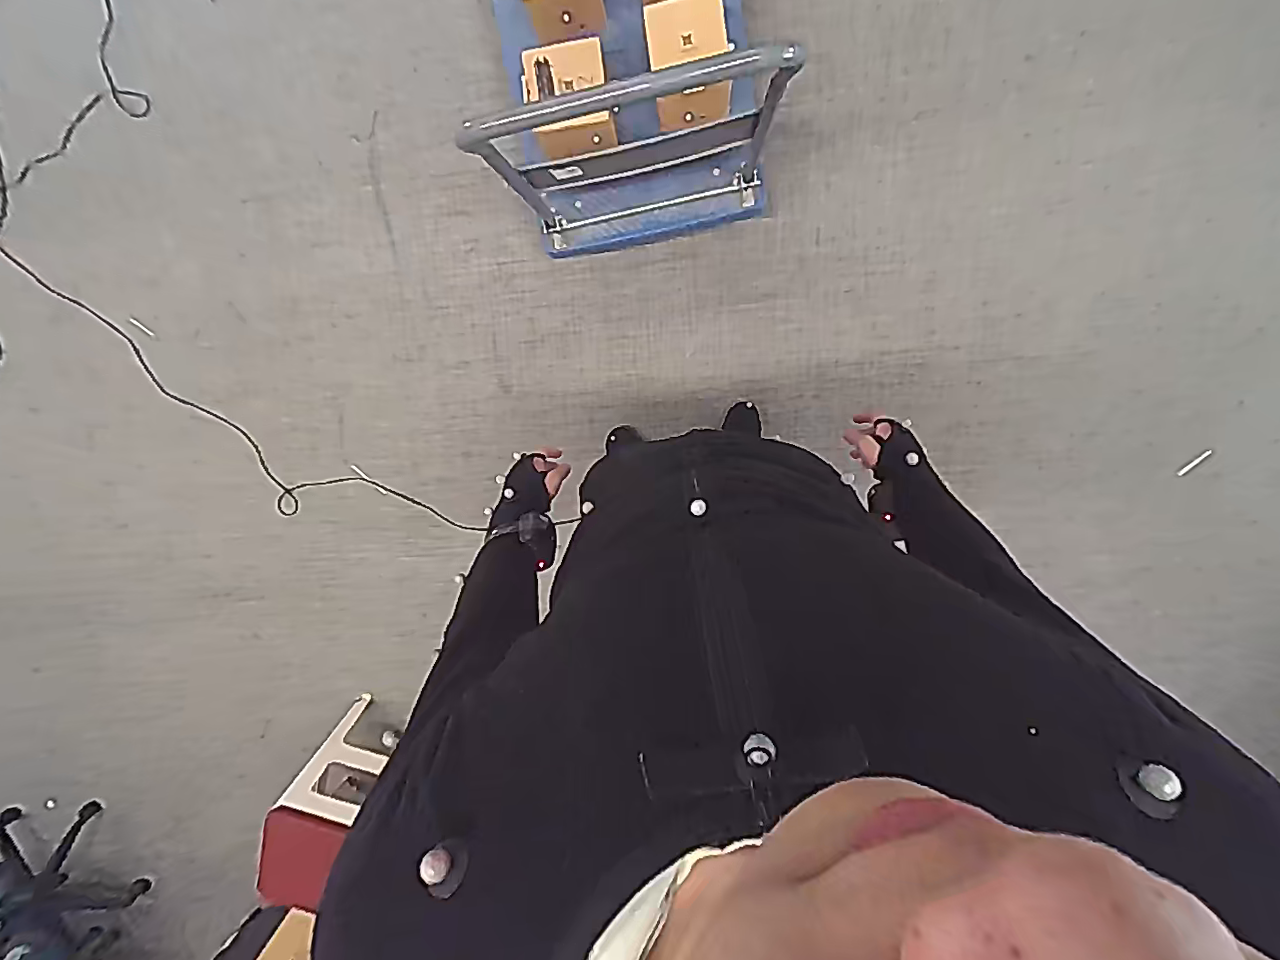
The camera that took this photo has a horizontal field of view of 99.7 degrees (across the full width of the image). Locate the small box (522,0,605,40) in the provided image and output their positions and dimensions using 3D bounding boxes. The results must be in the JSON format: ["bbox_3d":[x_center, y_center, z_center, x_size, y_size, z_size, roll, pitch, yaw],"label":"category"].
[{"bbox_3d":[-0.183,-1.132,1.204,0.168,0.176,0.179,-13,98,7],"label":"small box"}]

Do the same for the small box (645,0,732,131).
[{"bbox_3d":[0.108,-0.927,1.211,0.168,0.176,0.179,-8,100,7],"label":"small box"}]
